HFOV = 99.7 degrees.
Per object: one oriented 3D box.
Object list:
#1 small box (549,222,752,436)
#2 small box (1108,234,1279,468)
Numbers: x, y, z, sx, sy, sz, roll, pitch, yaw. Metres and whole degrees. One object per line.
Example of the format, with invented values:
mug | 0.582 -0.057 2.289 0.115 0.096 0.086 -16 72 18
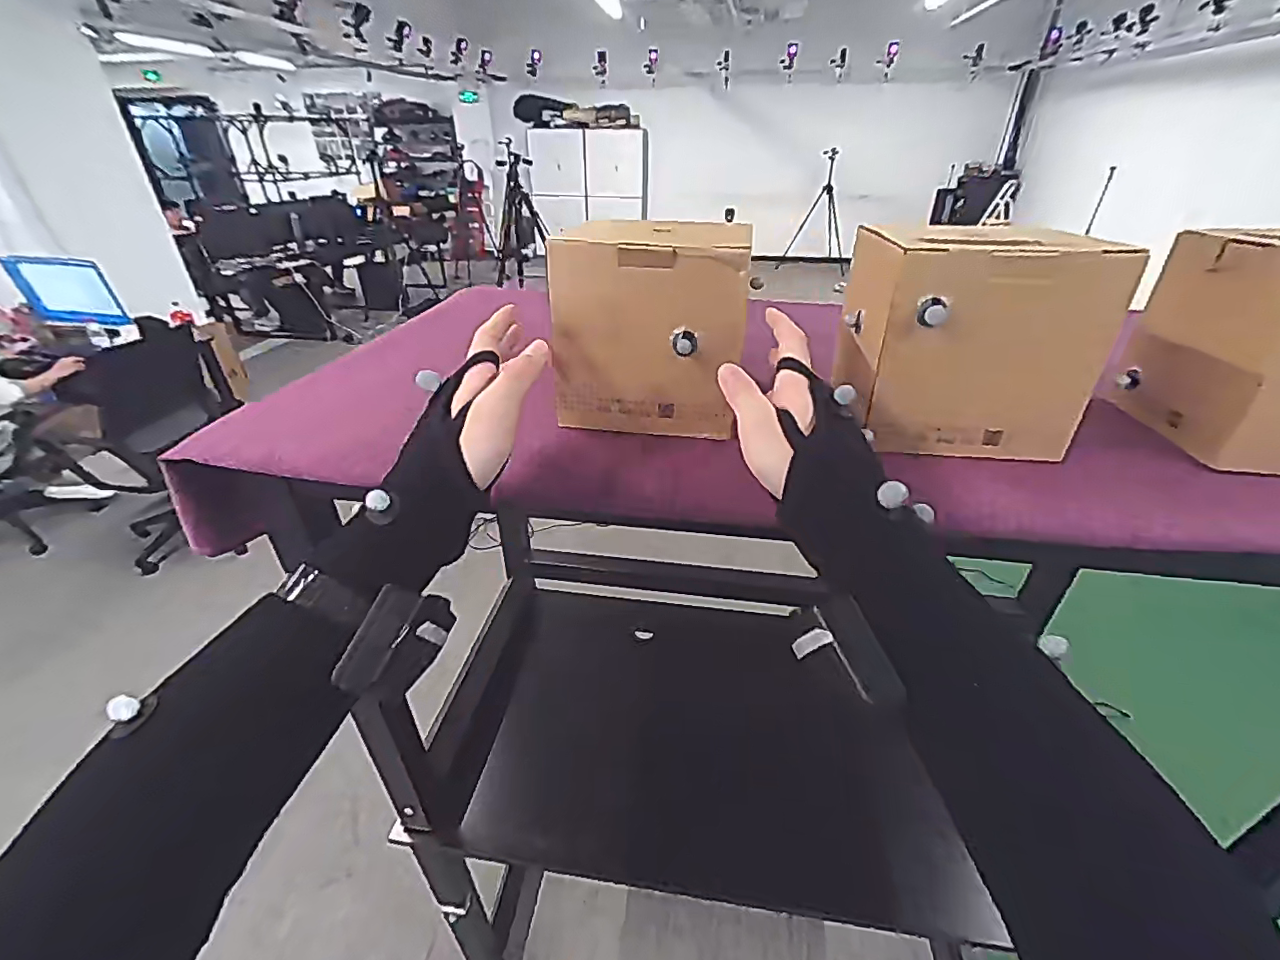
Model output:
small box | 0.020 -0.156 0.542 0.168 0.176 0.179 6 31 8
small box | 0.566 -0.114 0.474 0.179 0.176 0.168 5 32 8
